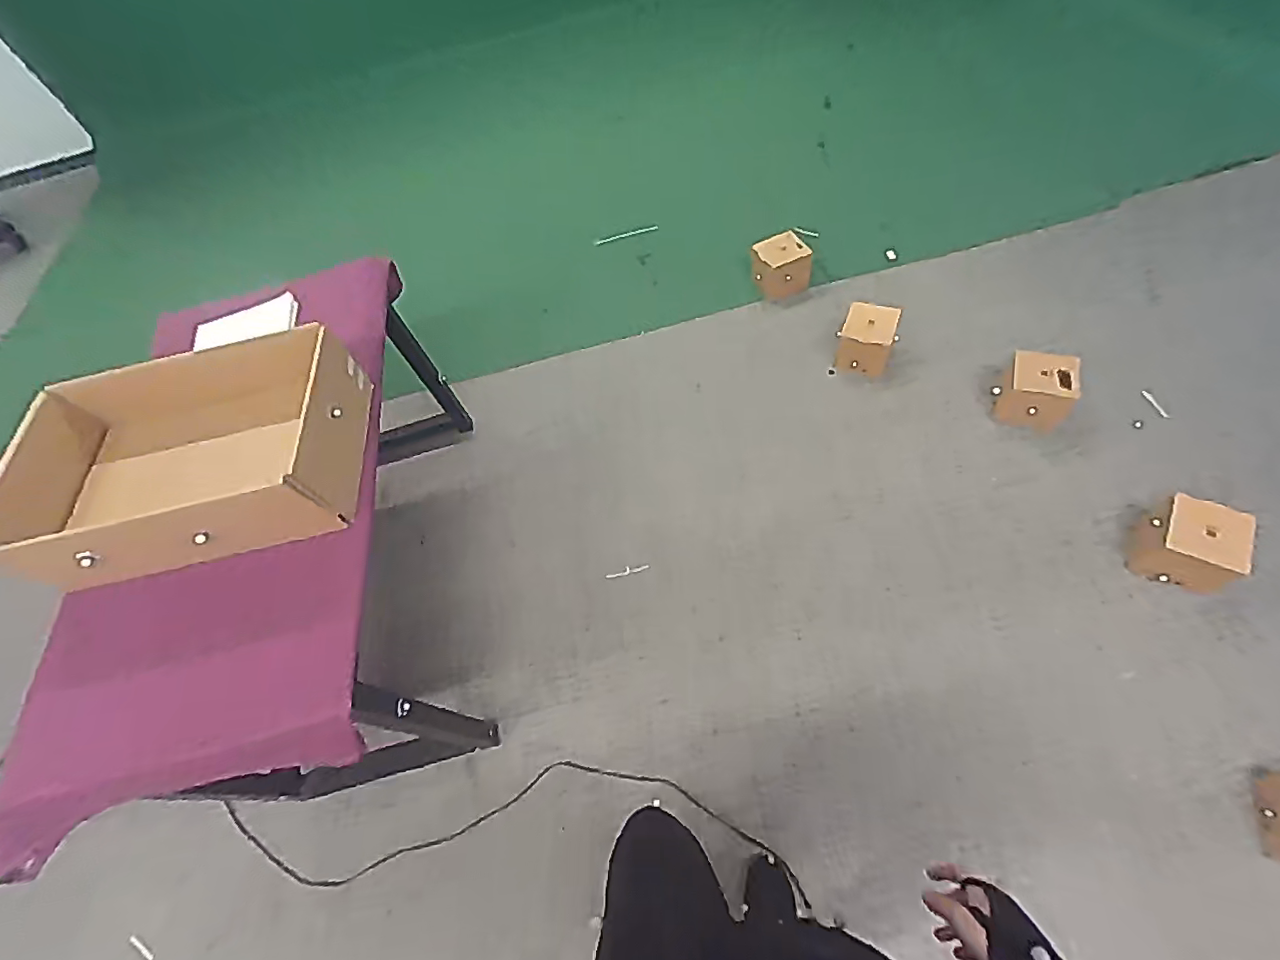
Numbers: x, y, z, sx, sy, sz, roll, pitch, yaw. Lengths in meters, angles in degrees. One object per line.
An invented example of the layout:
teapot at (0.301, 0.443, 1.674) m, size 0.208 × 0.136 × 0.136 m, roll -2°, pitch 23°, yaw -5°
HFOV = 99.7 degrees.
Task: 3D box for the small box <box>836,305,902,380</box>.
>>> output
small box at (0.805, -0.484, 1.911) m, size 0.168 × 0.176 × 0.179 m, roll 17°, pitch 65°, yaw 19°

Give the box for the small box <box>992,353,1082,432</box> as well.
small box at (1.245, -0.271, 1.700) m, size 0.179 × 0.176 × 0.168 m, roll 14°, pitch 63°, yaw 18°

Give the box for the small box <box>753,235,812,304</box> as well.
small box at (0.567, -0.838, 2.165) m, size 0.179 × 0.176 × 0.168 m, roll -24°, pitch 58°, yaw -4°
